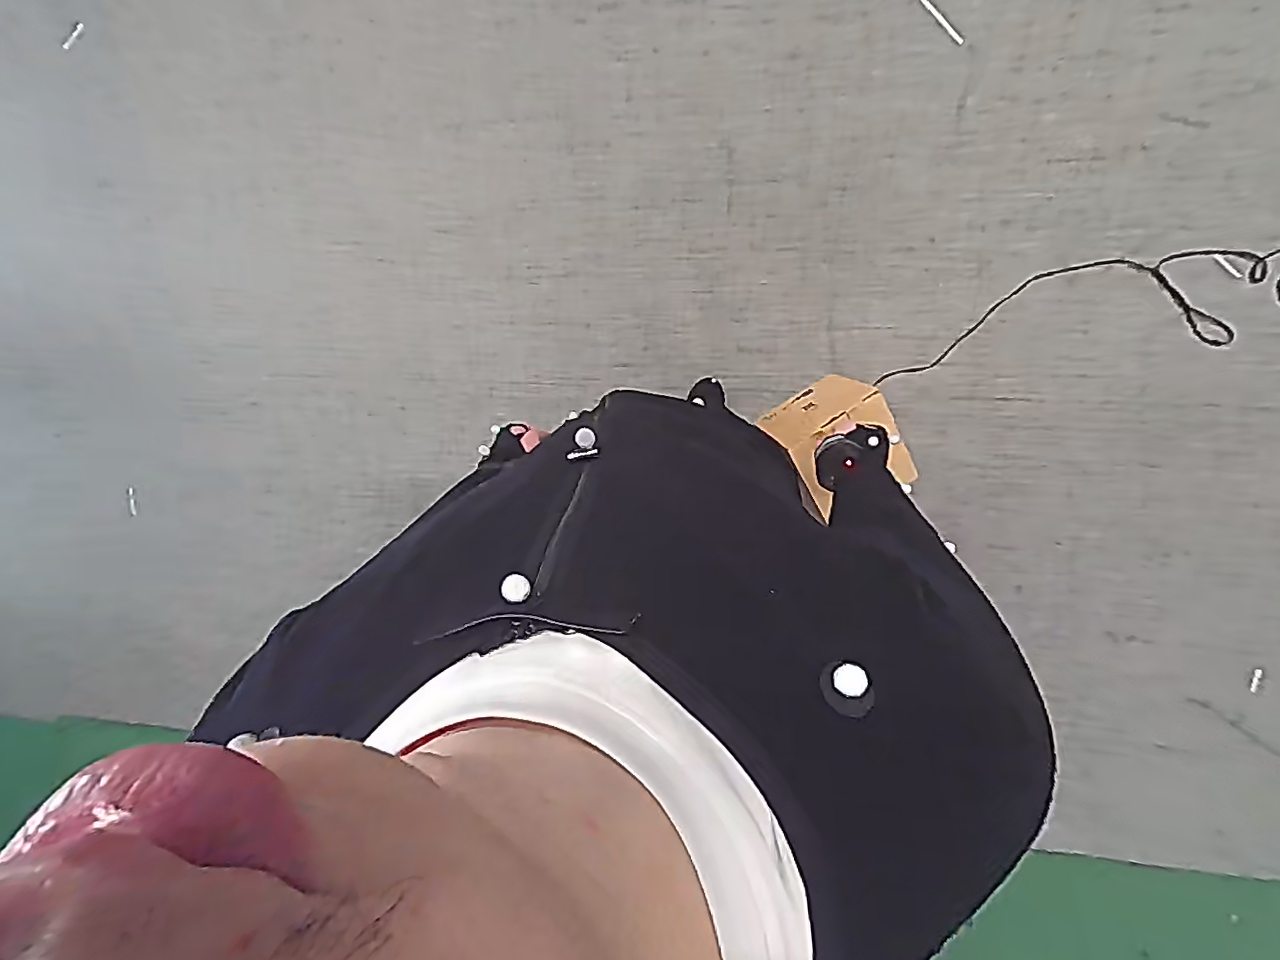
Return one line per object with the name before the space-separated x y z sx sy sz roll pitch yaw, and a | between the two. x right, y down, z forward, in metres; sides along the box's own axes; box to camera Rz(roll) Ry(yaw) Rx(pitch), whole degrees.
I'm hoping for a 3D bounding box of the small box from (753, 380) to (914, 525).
small box | 0.326 -0.047 0.924 0.168 0.179 0.176 -34 107 4
